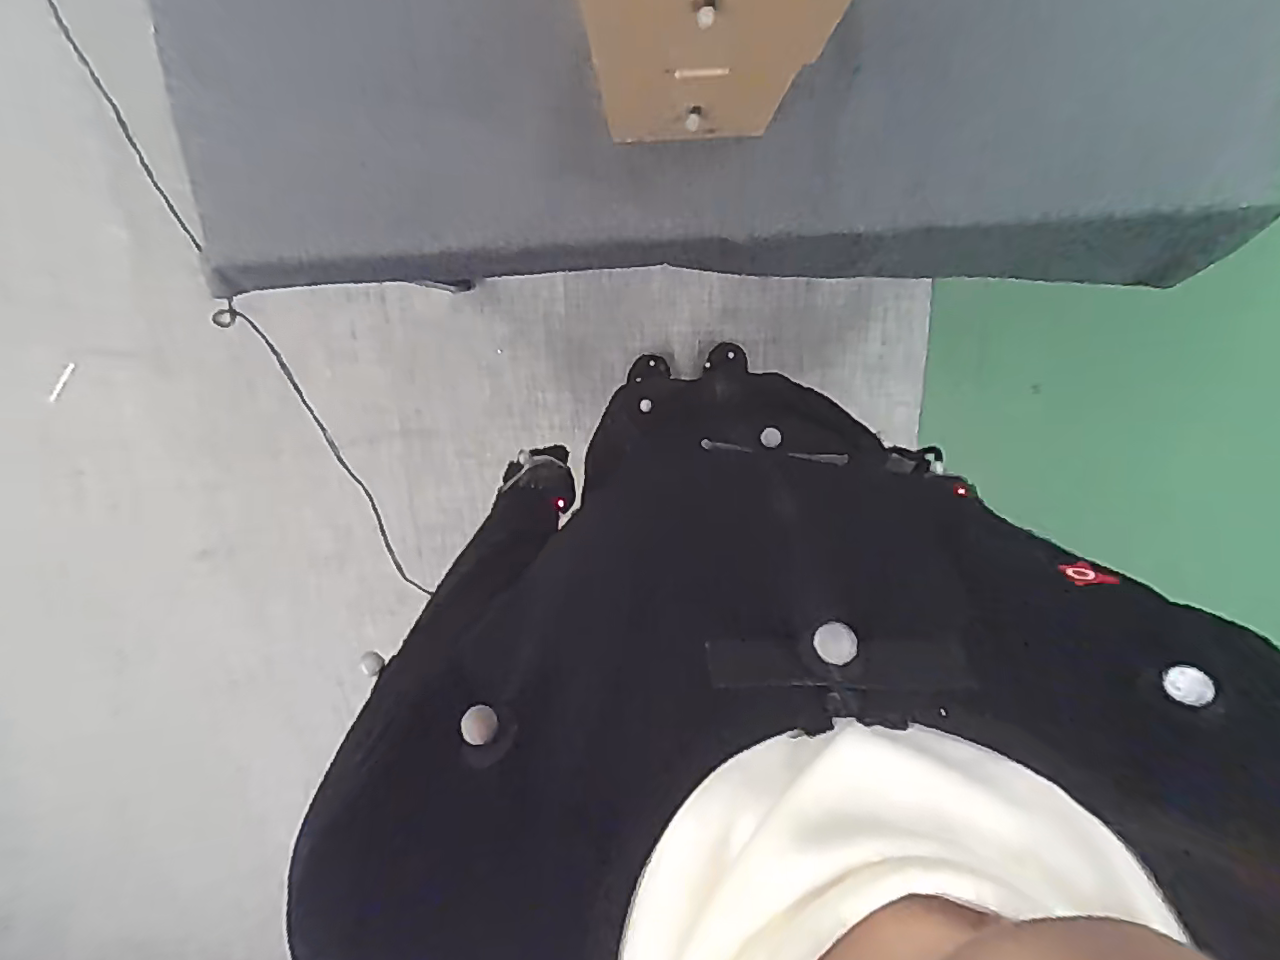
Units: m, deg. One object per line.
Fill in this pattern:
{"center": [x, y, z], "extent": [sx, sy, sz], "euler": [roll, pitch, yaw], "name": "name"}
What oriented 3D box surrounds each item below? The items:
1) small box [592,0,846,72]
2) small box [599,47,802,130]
{"center": [0.051, -0.386, 0.333], "extent": [0.179, 0.176, 0.168], "euler": [-4, 105, 2], "name": "small box"}
{"center": [0.050, -0.439, 0.489], "extent": [0.168, 0.176, 0.179], "euler": [-2, 106, 2], "name": "small box"}
